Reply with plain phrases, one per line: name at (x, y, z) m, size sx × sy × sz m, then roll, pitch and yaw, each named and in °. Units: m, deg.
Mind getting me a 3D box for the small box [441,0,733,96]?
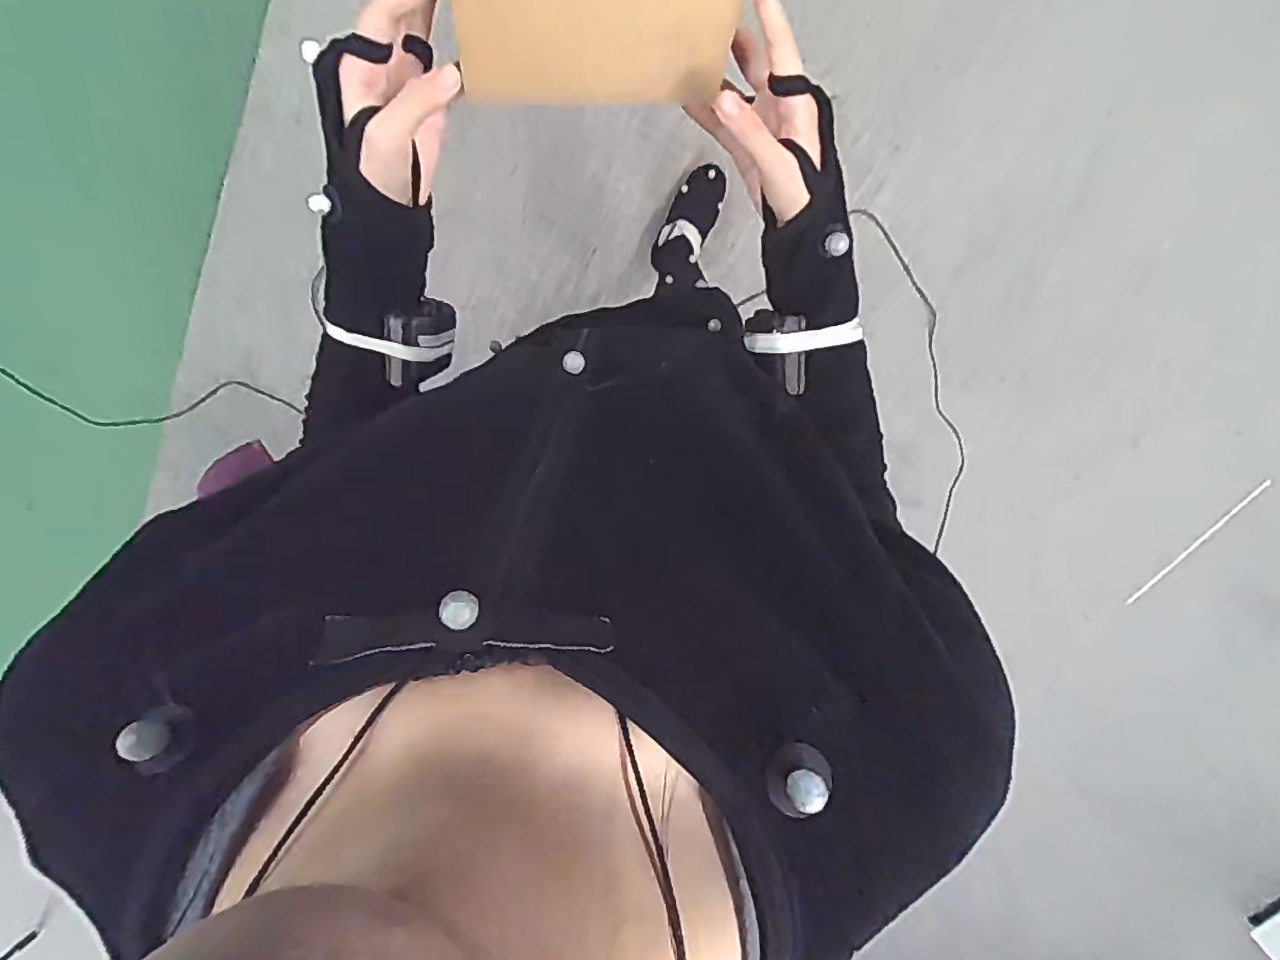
small box at (-0.034, -0.354, 0.293) m, size 0.168 × 0.179 × 0.176 m, roll -6°, pitch 71°, yaw -9°
